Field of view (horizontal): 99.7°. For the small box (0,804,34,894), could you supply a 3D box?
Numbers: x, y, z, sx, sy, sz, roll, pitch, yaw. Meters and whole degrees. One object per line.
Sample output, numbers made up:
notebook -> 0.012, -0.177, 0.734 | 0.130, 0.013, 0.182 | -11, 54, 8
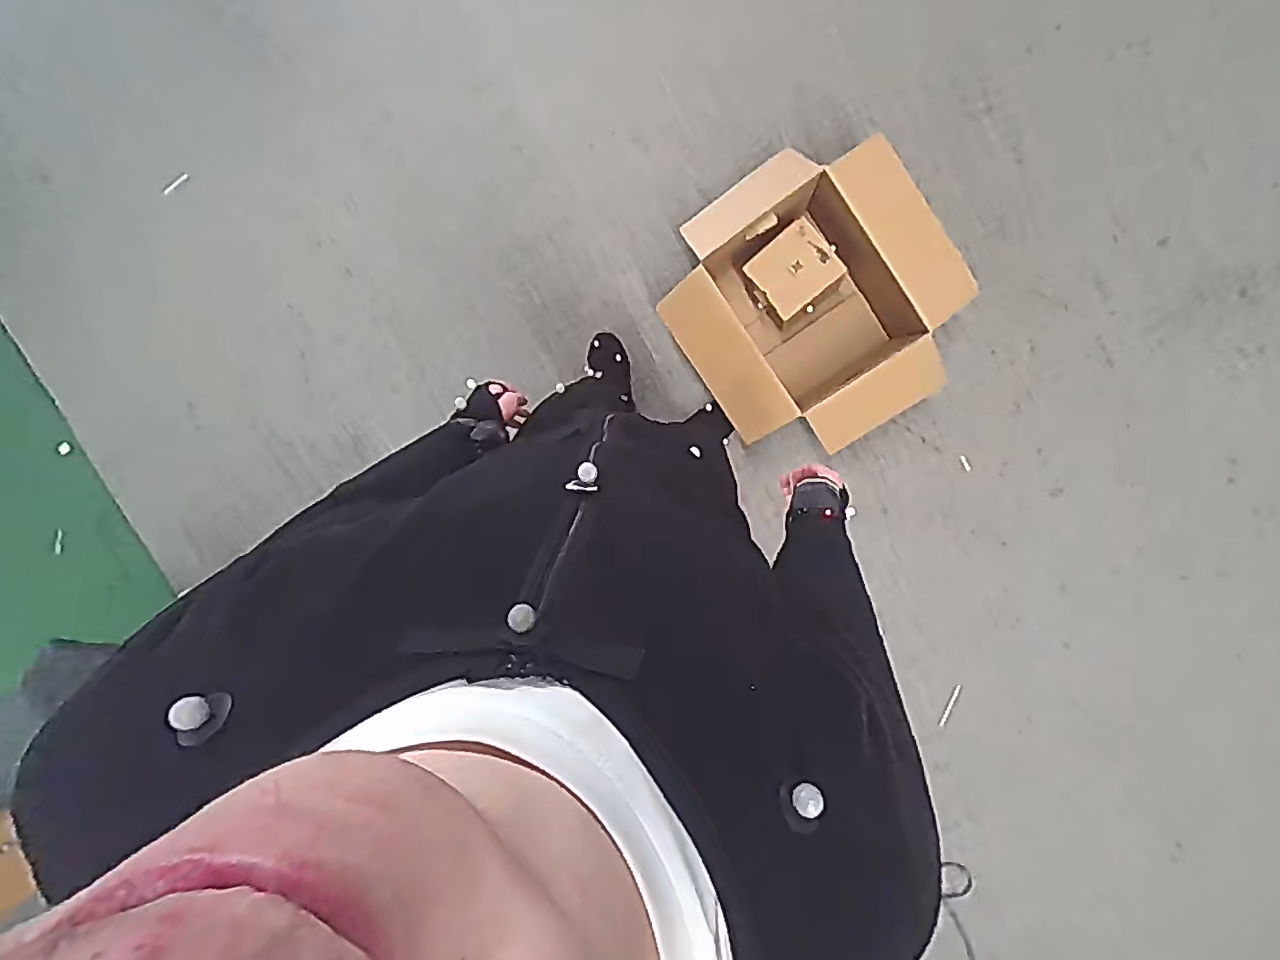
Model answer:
small box -> -1.413, 0.799, 1.104 | 0.179, 0.176, 0.168 | -18, 96, 12
